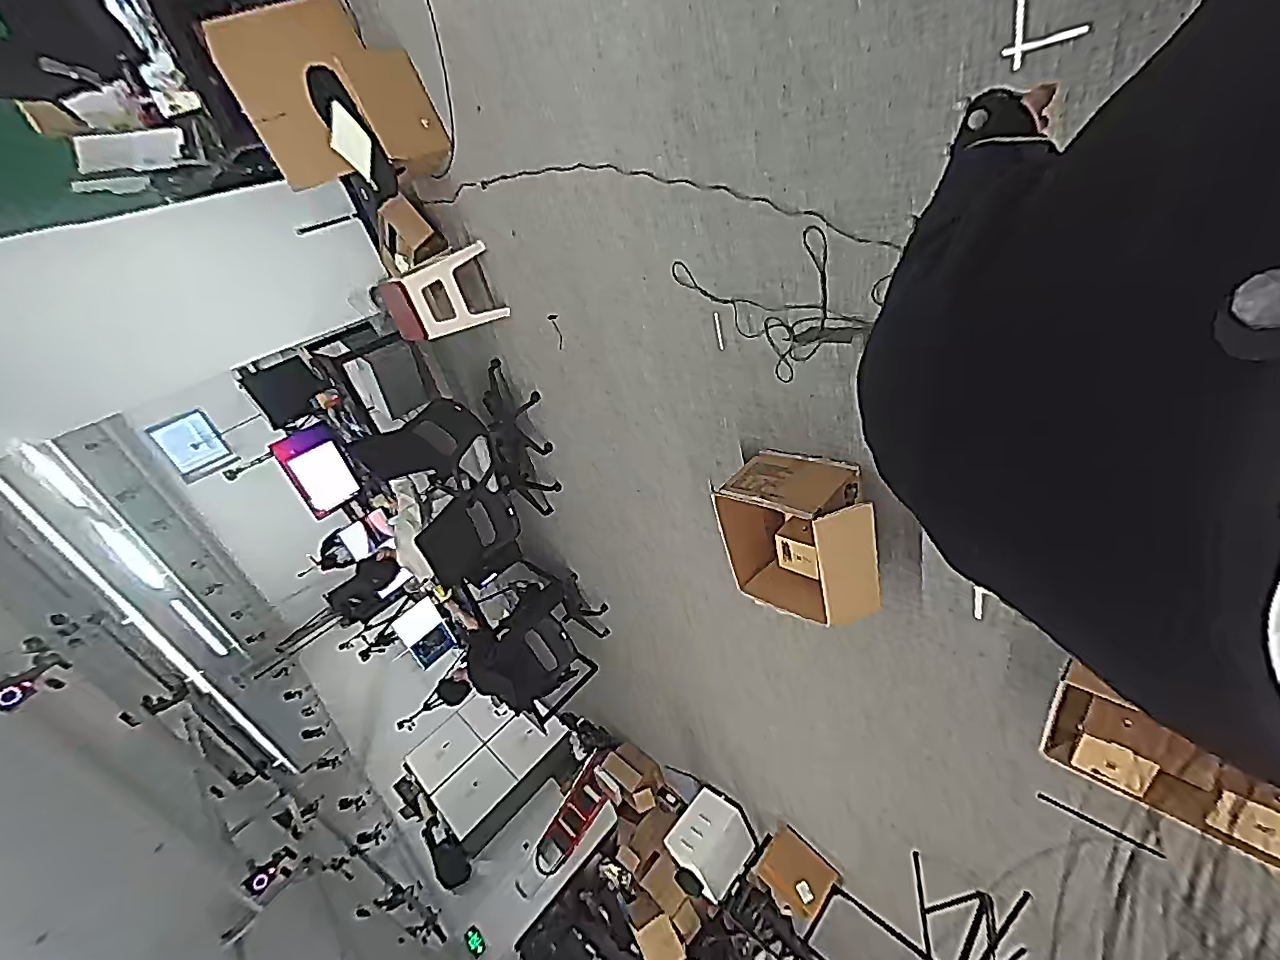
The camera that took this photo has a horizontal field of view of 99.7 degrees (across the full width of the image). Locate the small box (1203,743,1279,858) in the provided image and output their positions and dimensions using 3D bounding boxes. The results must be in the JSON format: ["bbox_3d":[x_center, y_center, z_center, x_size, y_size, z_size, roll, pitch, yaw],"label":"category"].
[{"bbox_3d":[1.597,0.818,1.379,0.179,0.176,0.168,20,135,43],"label":"small box"}]

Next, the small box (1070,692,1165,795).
[{"bbox_3d":[1.399,0.762,1.583,0.168,0.176,0.179,20,134,40],"label":"small box"}]
